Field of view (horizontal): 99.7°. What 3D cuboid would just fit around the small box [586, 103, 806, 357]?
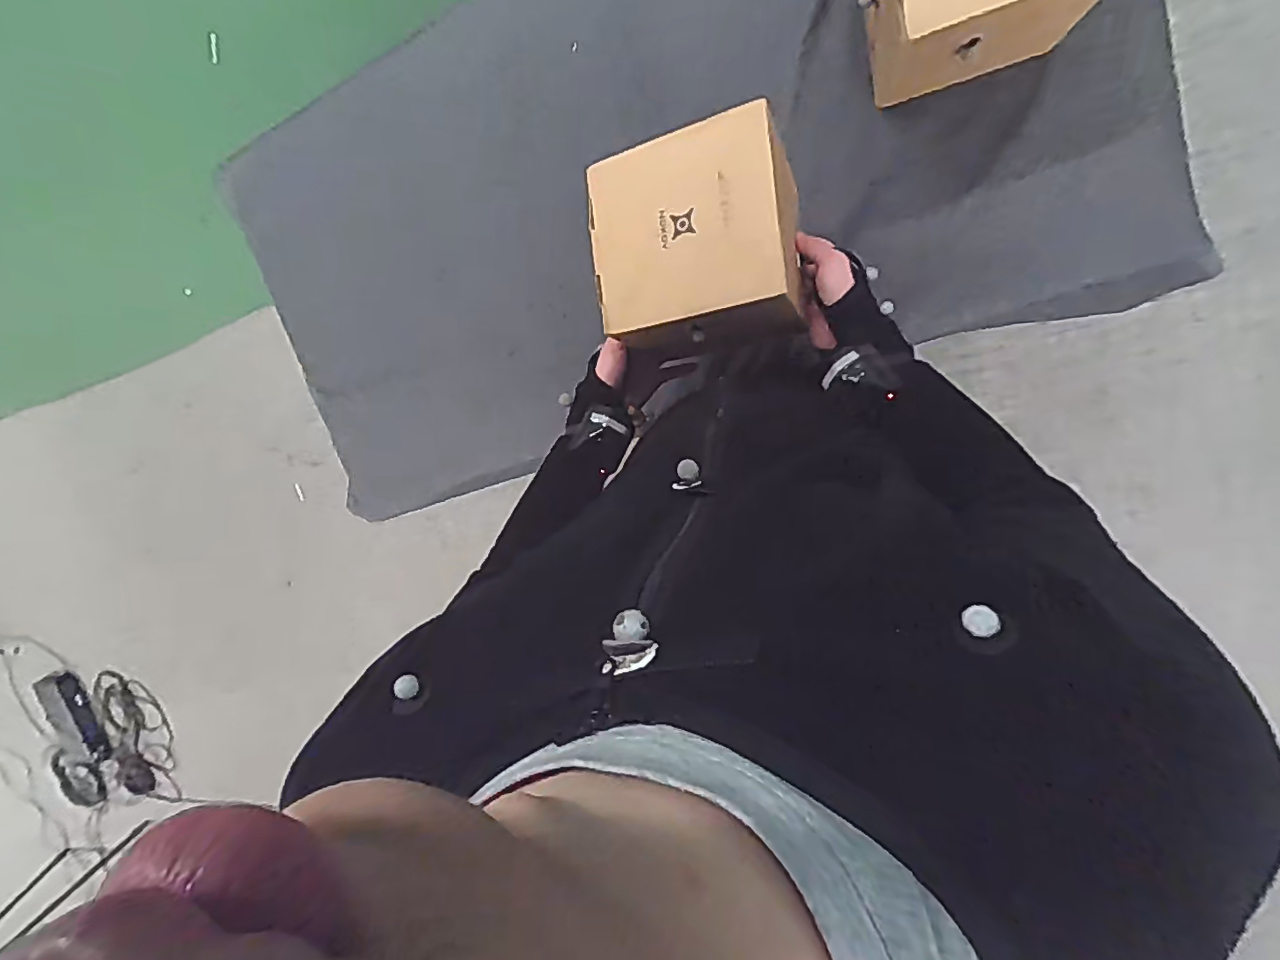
[{"bbox_3d":[0.066,-0.232,0.559,0.179,0.176,0.168,-6,91,23],"label":"small box"}]

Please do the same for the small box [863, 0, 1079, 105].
[{"bbox_3d":[0.314,-0.499,0.516,0.179,0.176,0.168,-9,104,18],"label":"small box"}]
